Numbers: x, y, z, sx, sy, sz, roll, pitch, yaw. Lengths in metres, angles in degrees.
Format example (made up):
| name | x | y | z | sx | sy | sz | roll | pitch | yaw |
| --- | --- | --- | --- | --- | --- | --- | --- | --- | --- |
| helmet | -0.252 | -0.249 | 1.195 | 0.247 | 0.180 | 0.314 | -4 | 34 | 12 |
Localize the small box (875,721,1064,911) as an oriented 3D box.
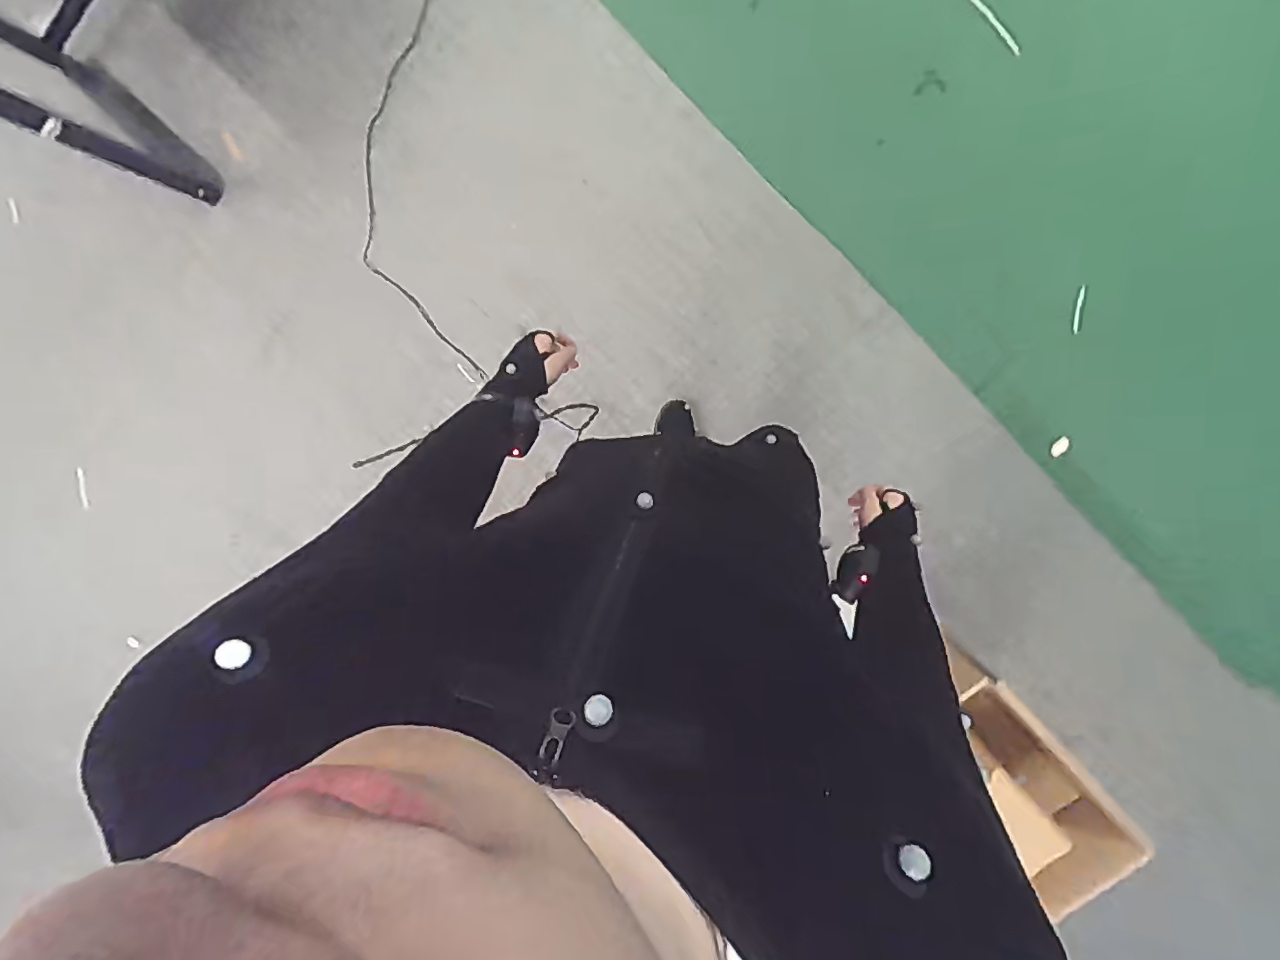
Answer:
| name | x | y | z | sx | sy | sz | roll | pitch | yaw |
| --- | --- | --- | --- | --- | --- | --- | --- | --- | --- |
| small box | 0.537 | 0.550 | 0.908 | 0.168 | 0.176 | 0.179 | -43 | 93 | 9 |
